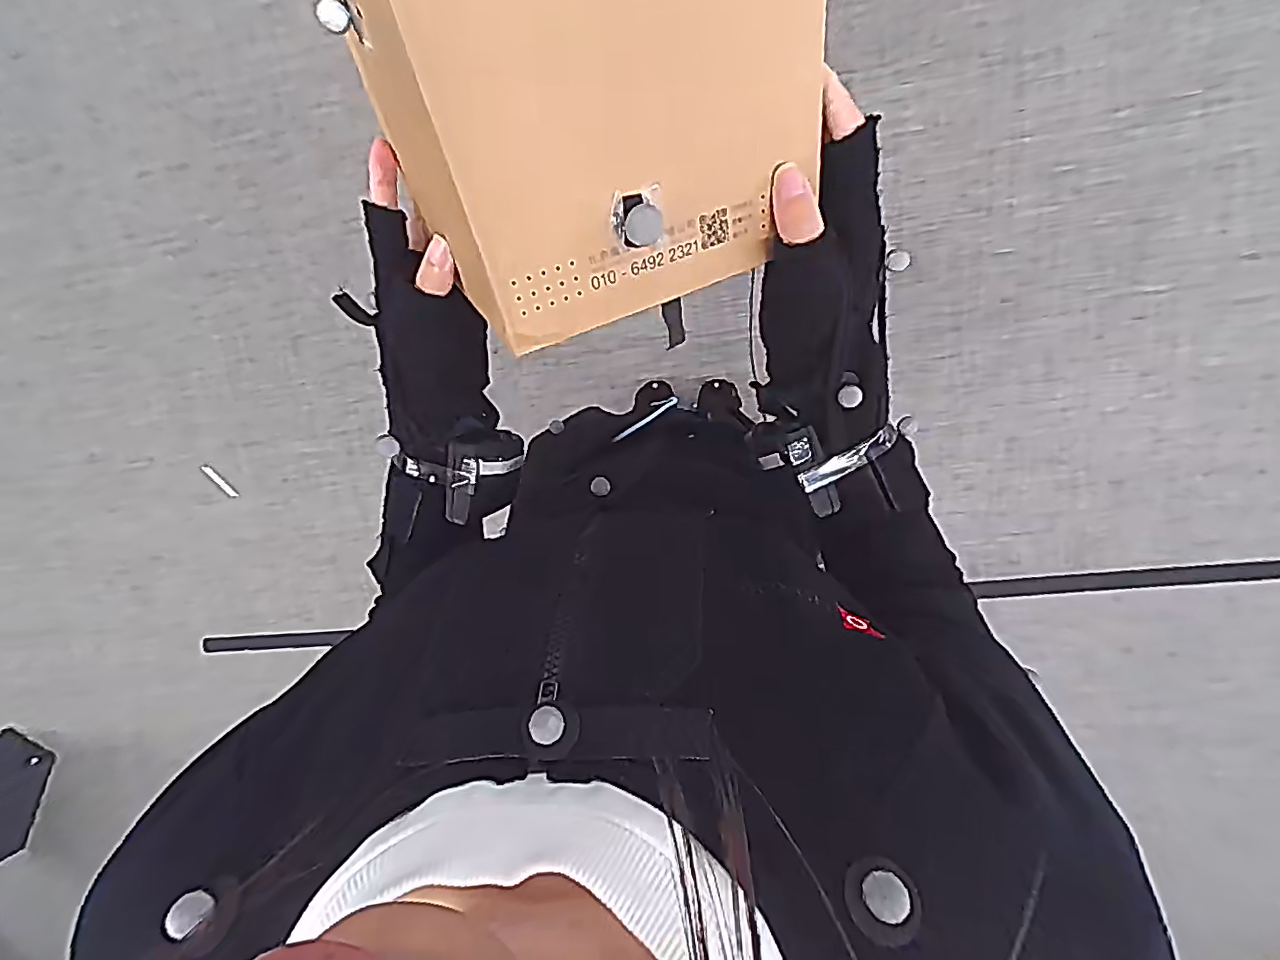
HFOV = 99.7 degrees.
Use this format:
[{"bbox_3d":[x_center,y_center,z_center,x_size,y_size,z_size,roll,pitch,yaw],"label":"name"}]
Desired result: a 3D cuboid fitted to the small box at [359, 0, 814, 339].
[{"bbox_3d":[-0.032,-0.195,0.280,0.168,0.179,0.176,-25,132,-13],"label":"small box"}]
